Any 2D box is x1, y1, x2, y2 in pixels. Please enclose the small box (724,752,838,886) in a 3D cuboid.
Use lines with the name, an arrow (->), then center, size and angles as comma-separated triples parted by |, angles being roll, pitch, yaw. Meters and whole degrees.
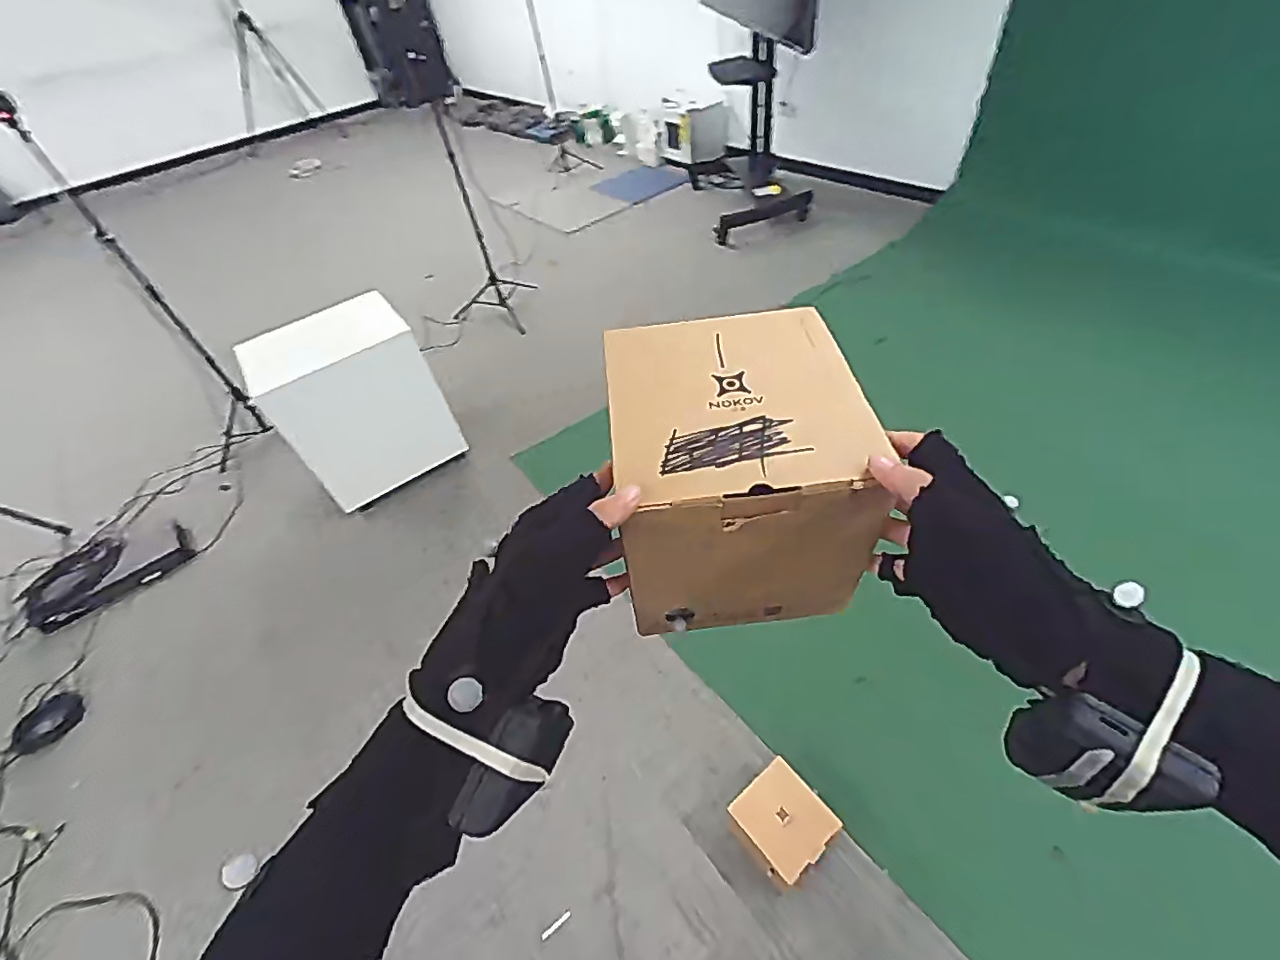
small box -> 0.301, 0.745, 1.185 | 0.168, 0.176, 0.179 | -34, 52, -21
